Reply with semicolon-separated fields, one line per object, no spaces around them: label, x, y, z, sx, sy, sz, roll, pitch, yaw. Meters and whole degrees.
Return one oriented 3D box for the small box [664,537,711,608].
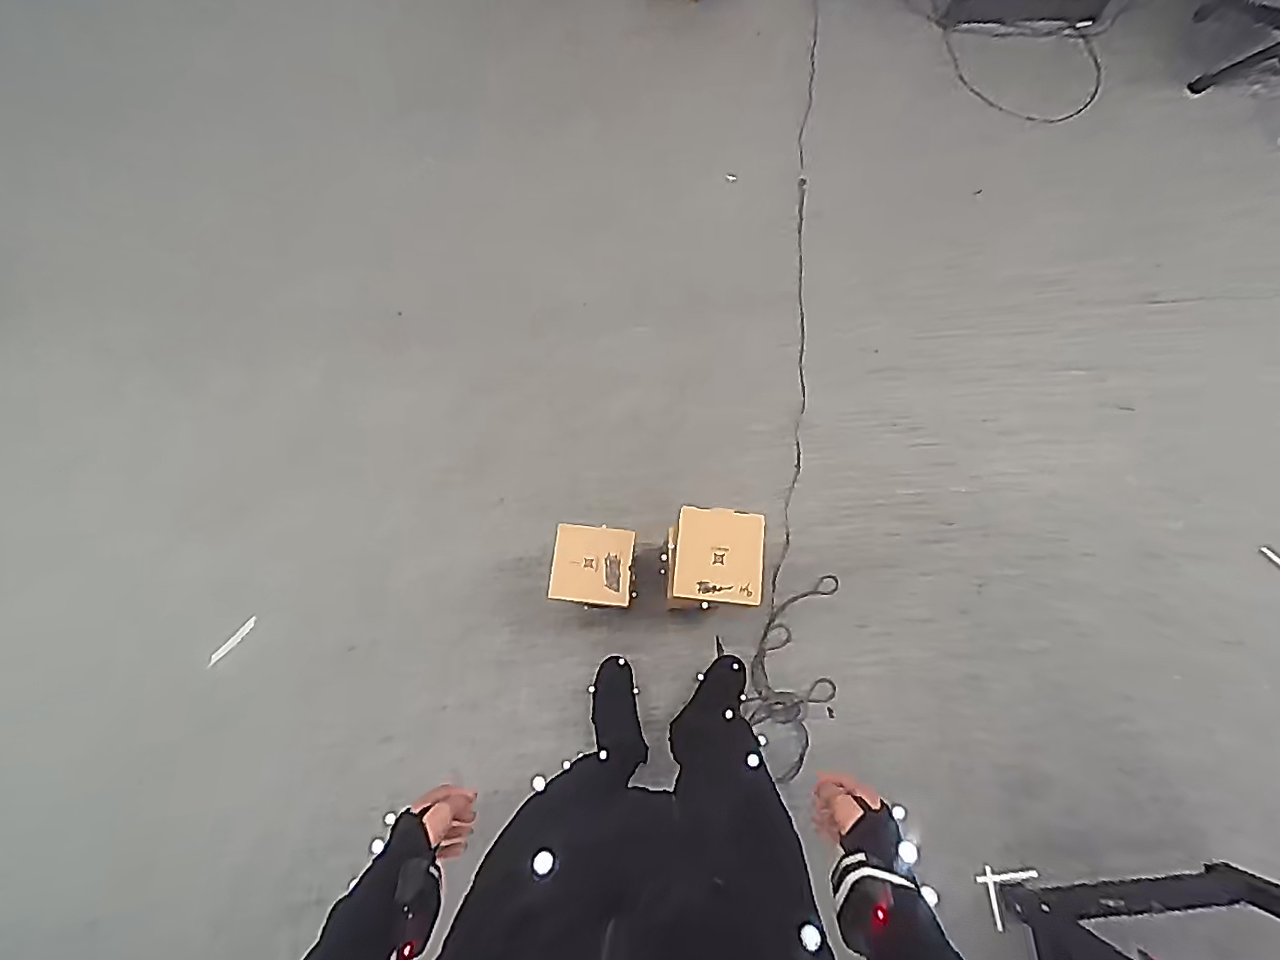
small box;0.152;0.243;1.416;0.168;0.176;0.179;-2;76;0

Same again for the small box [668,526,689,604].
small box;0.154;0.203;1.259;0.179;0.176;0.168;0;75;0

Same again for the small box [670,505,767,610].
small box;0.153;0.163;1.100;0.168;0.176;0.179;7;74;1

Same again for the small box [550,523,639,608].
small box;-0.099;0.202;1.252;0.179;0.176;0.168;6;75;2
